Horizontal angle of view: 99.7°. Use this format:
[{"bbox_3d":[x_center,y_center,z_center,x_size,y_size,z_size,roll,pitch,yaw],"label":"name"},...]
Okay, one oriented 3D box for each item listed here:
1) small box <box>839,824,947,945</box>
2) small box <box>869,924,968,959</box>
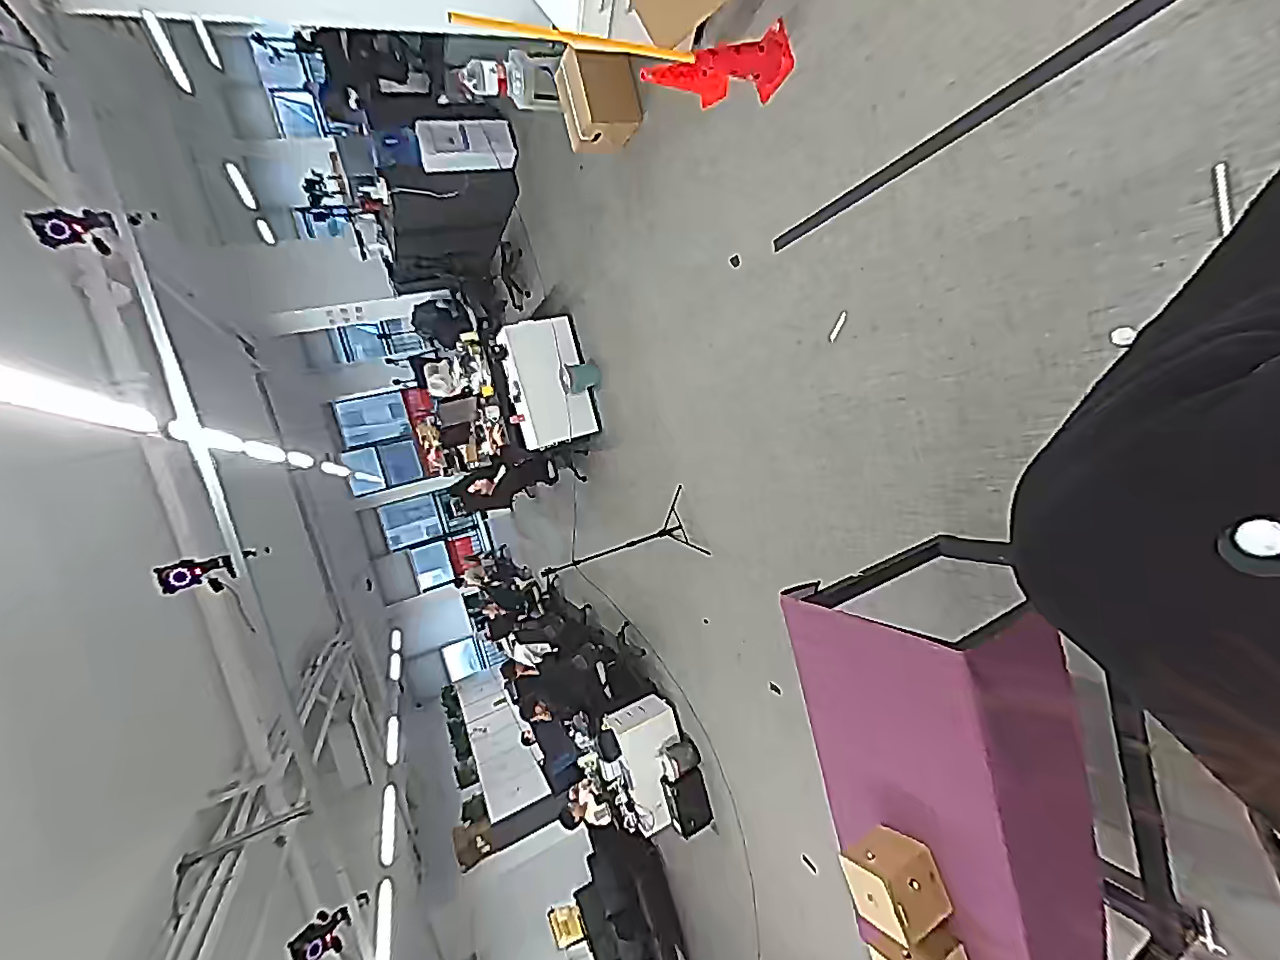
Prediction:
[{"bbox_3d":[0.672,1.052,1.426,0.179,0.176,0.168,-34,74,67],"label":"small box"},{"bbox_3d":[0.748,1.291,1.415,0.179,0.176,0.168,-31,77,67],"label":"small box"}]
